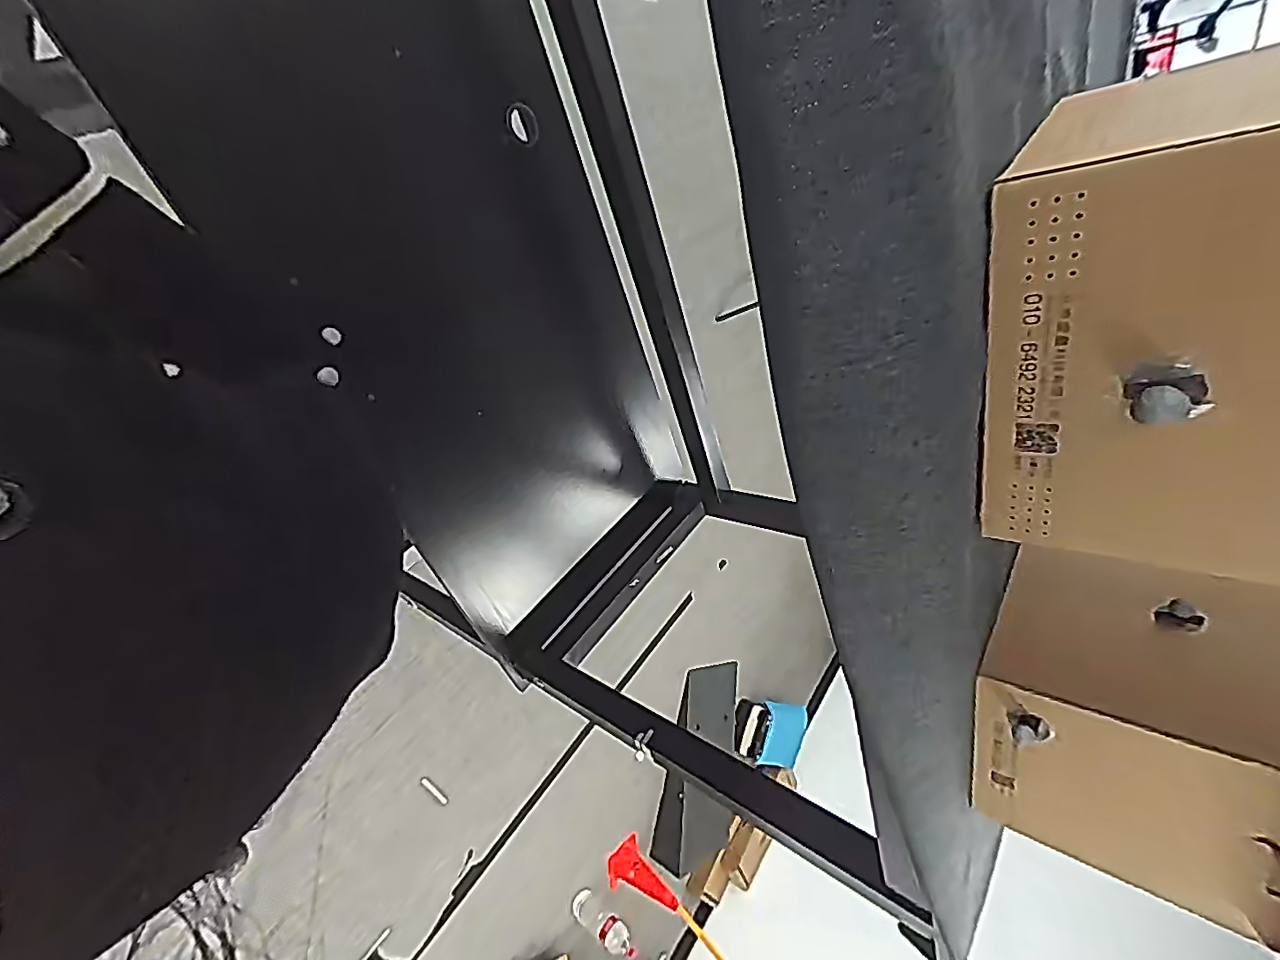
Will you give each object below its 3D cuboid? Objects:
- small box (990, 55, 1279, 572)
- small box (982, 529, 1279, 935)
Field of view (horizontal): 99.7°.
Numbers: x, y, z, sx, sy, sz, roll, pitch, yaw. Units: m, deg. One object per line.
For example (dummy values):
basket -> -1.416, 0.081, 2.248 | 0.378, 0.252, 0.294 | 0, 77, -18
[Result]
small box -> 0.267, -0.078, 0.230 | 0.179, 0.176, 0.168 | -45, 128, -35
small box -> 0.361, 0.157, 0.390 | 0.179, 0.176, 0.168 | -42, 127, -37
